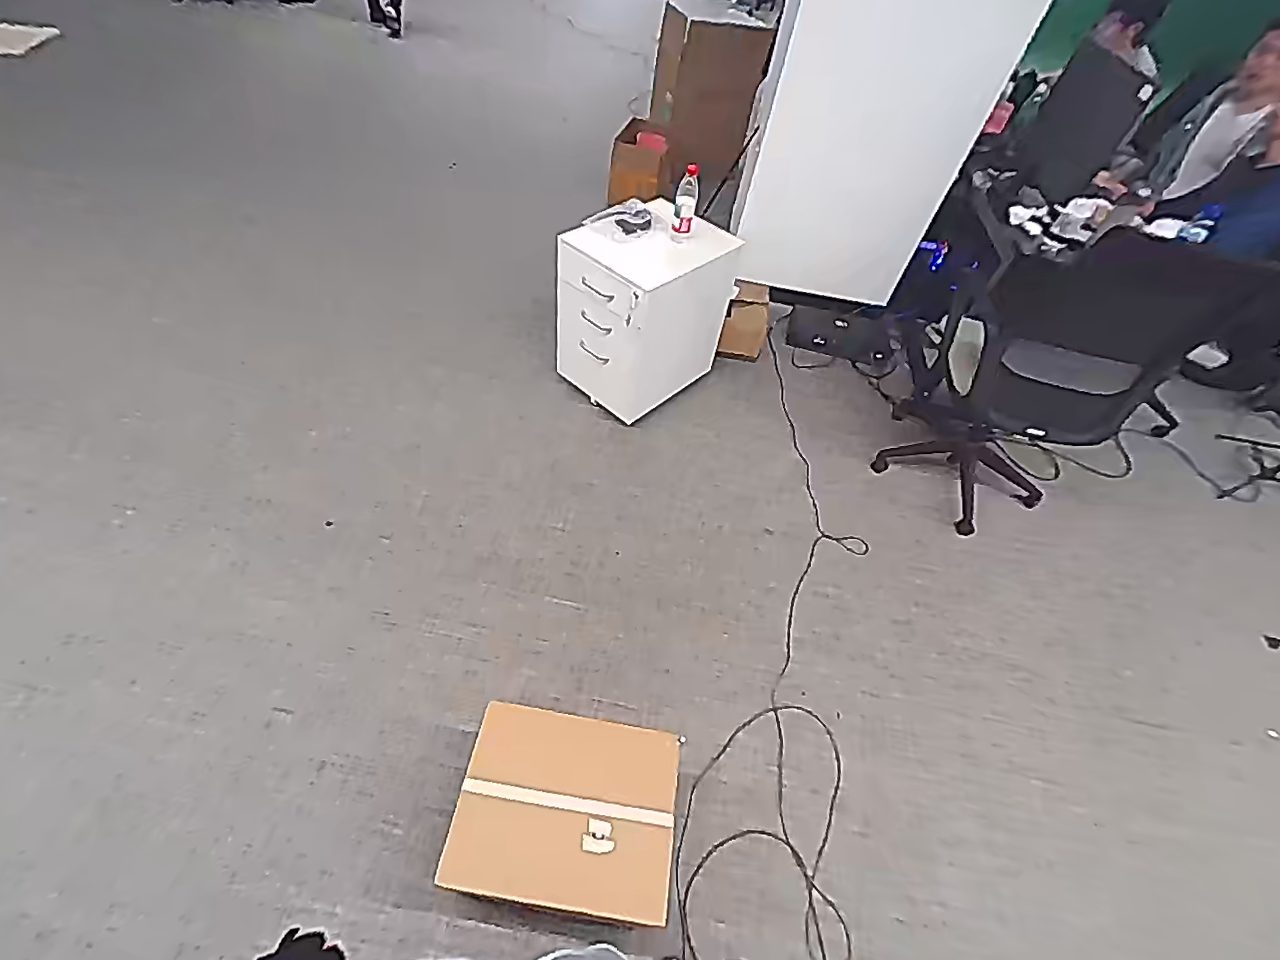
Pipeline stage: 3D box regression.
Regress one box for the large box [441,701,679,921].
[{"bbox_3d":[-0.153,0.701,1.140,0.408,0.320,0.320,11,50,-1],"label":"large box"}]
